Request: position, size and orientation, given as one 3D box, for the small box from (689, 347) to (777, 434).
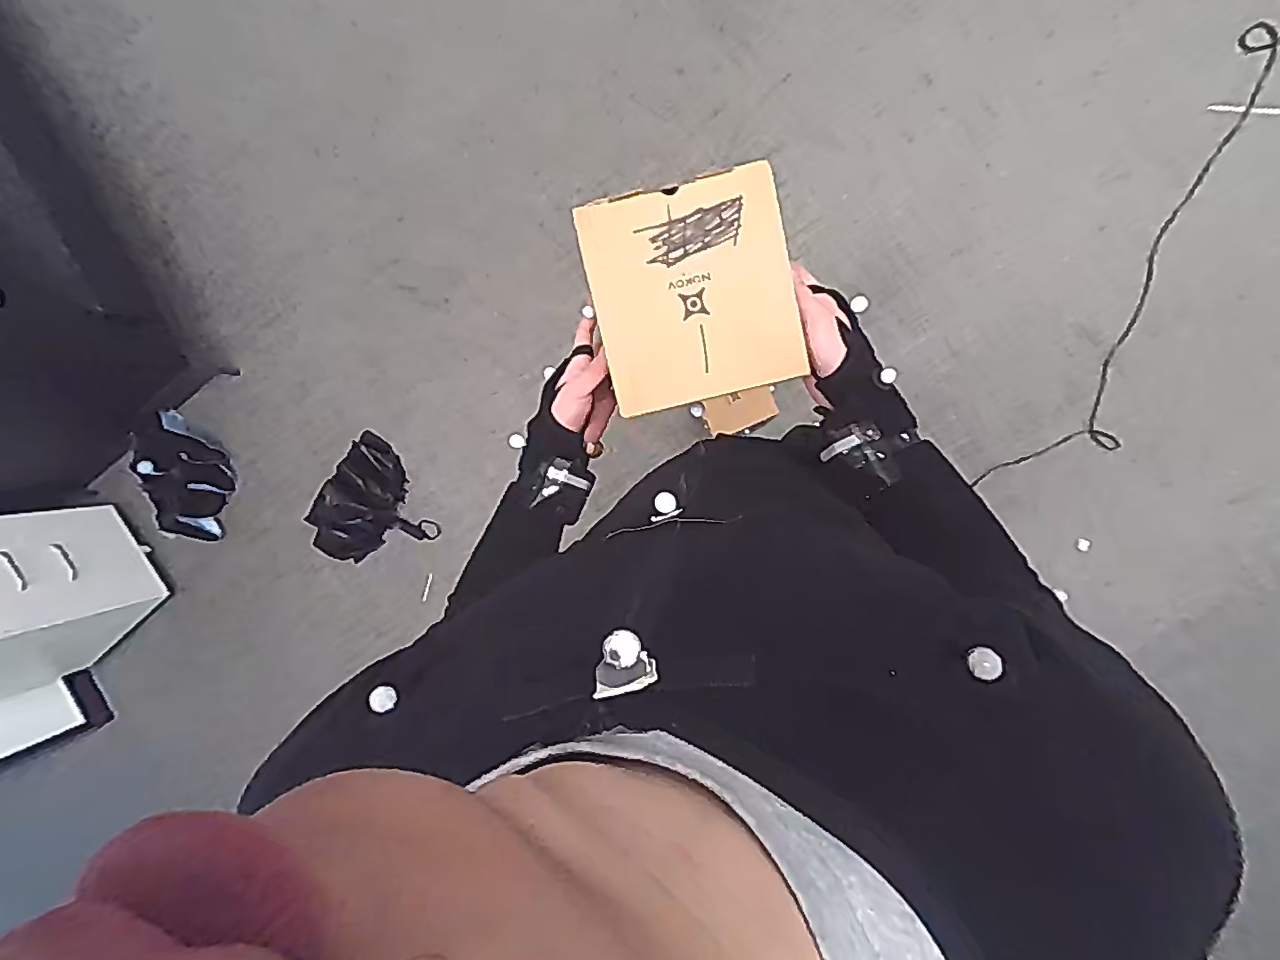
[{"bbox_3d":[0.249,-0.228,1.425,0.179,0.176,0.168,-23,91,13],"label":"small box"}]
